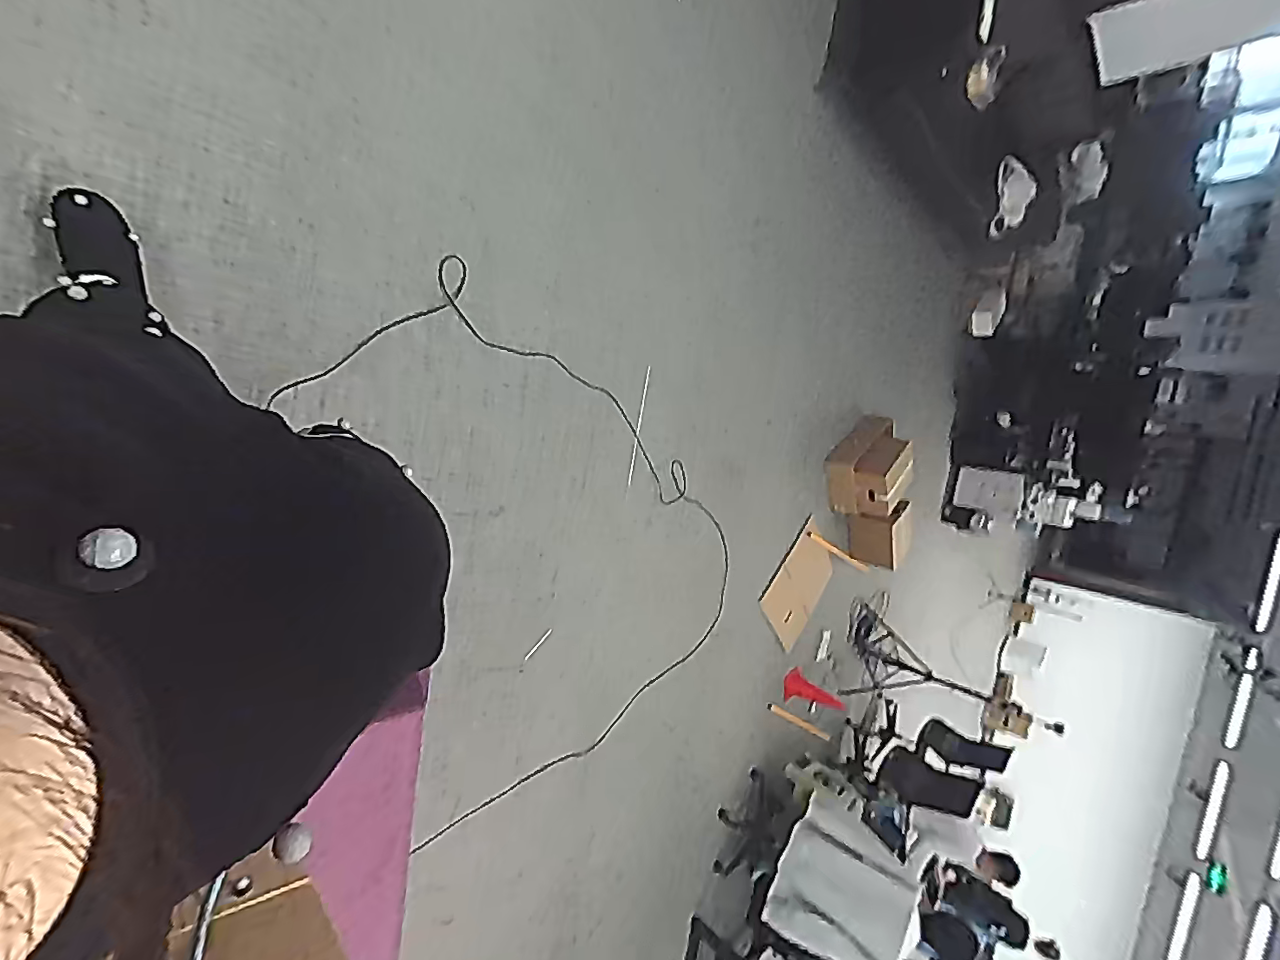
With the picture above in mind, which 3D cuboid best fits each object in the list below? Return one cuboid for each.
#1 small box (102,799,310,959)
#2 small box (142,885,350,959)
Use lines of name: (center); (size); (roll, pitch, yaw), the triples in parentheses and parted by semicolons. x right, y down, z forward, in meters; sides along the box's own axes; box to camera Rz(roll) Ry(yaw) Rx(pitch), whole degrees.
small box: (-0.520, 0.531, 0.646); (0.168, 0.176, 0.179); (6, 97, -47)
small box: (-0.405, 0.561, 0.532); (0.179, 0.176, 0.168); (7, 95, -47)
